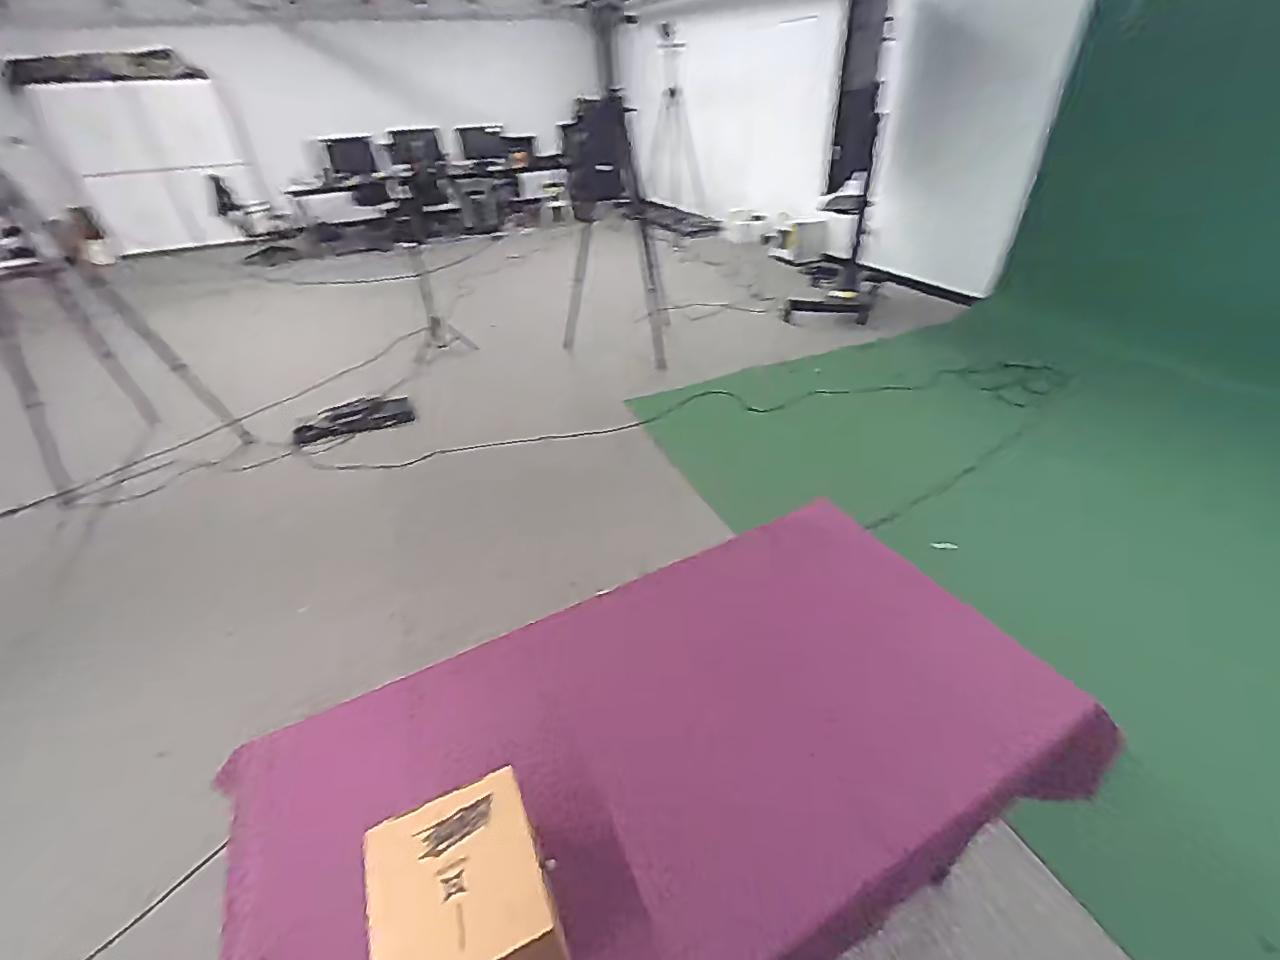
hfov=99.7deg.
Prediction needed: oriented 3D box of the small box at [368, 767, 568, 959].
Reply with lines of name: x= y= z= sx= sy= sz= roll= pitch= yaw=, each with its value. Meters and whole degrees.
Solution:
small box: x=-0.190 y=0.473 z=0.606 sx=0.168 sy=0.176 sz=0.179 roll=-18 pitch=39 yaw=-19
